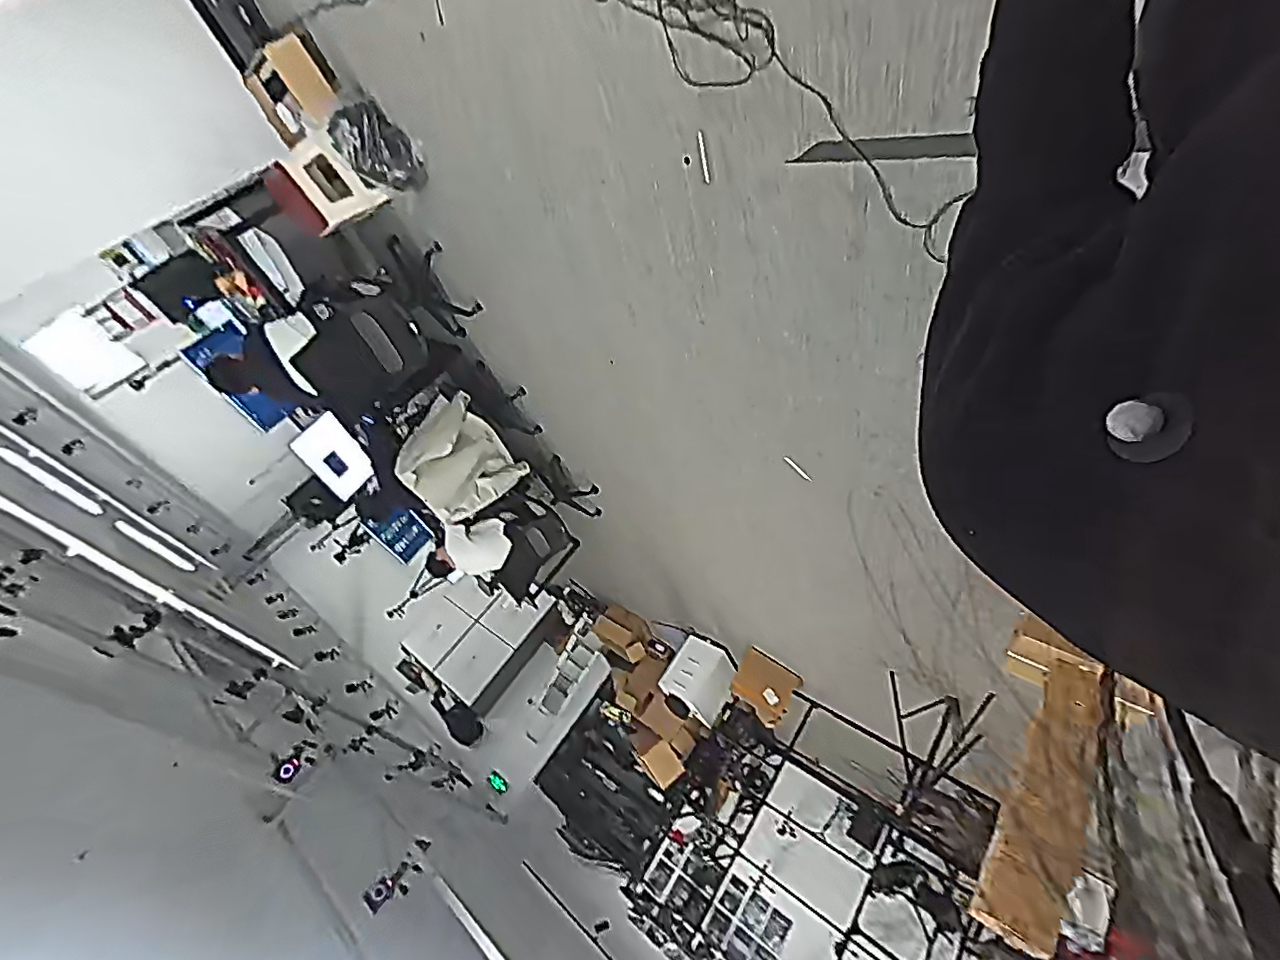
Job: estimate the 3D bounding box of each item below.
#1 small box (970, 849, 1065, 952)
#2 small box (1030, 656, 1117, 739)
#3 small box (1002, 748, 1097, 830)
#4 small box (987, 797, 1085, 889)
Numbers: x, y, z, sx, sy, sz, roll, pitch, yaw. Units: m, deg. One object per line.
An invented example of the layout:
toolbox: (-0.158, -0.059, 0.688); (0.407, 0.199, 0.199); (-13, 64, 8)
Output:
small box: (1.065, 1.179, 1.524); (0.168, 0.176, 0.179); (23, 150, 31)
small box: (1.441, 0.717, 1.797); (0.179, 0.176, 0.168); (21, 149, 36)
small box: (1.255, 0.950, 1.659); (0.179, 0.176, 0.168); (23, 150, 32)
small box: (1.162, 1.064, 1.592); (0.179, 0.176, 0.168); (23, 149, 31)
